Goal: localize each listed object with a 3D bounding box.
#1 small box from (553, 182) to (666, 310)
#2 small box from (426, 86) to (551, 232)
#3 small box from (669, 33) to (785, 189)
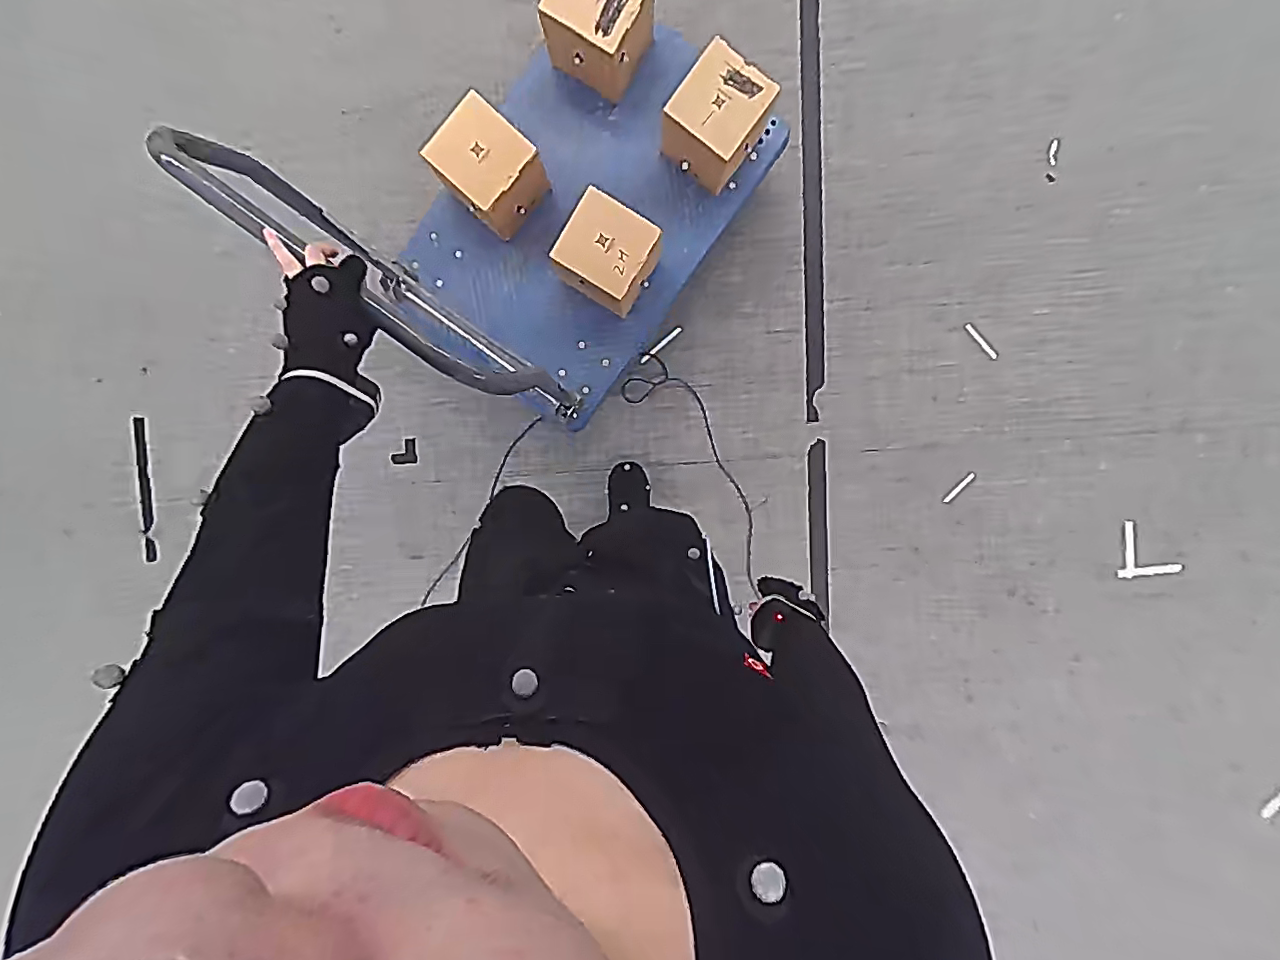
[{"bbox_3d":[-0.062,-0.492,1.167,0.179,0.176,0.168,32,94,-2],"label":"small box"},{"bbox_3d":[-0.312,-0.670,1.154,0.179,0.176,0.168,41,94,-5],"label":"small box"},{"bbox_3d":[0.171,-0.765,1.143,0.168,0.176,0.179,37,95,-3],"label":"small box"}]
